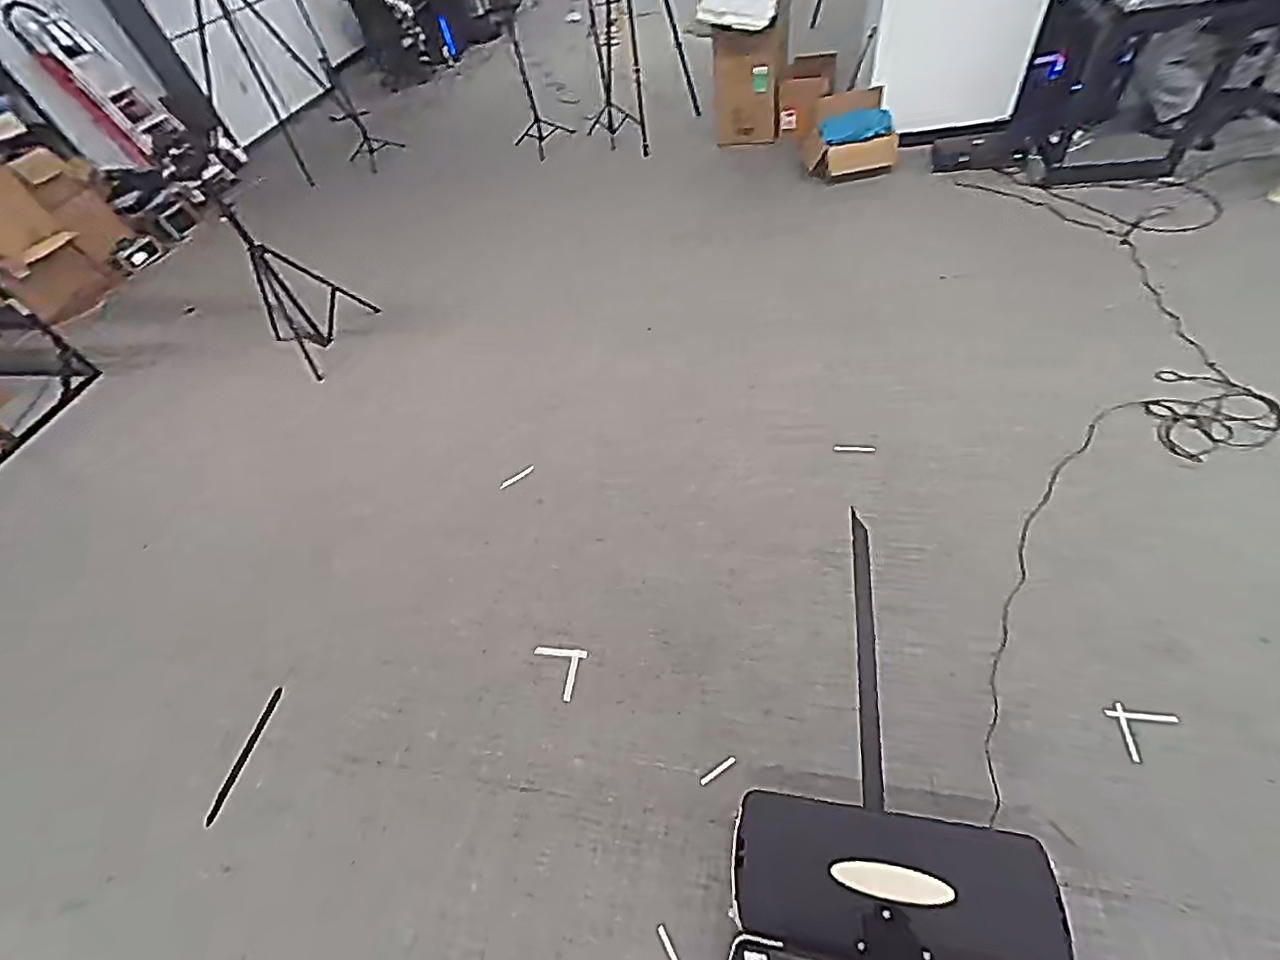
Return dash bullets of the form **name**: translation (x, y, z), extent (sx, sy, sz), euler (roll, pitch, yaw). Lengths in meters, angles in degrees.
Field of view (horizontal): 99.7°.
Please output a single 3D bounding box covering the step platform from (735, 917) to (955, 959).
- **step platform**: translation (0.517, 1.070, 1.022), extent (0.684, 0.204, 0.286), euler (0, 52, 14)
